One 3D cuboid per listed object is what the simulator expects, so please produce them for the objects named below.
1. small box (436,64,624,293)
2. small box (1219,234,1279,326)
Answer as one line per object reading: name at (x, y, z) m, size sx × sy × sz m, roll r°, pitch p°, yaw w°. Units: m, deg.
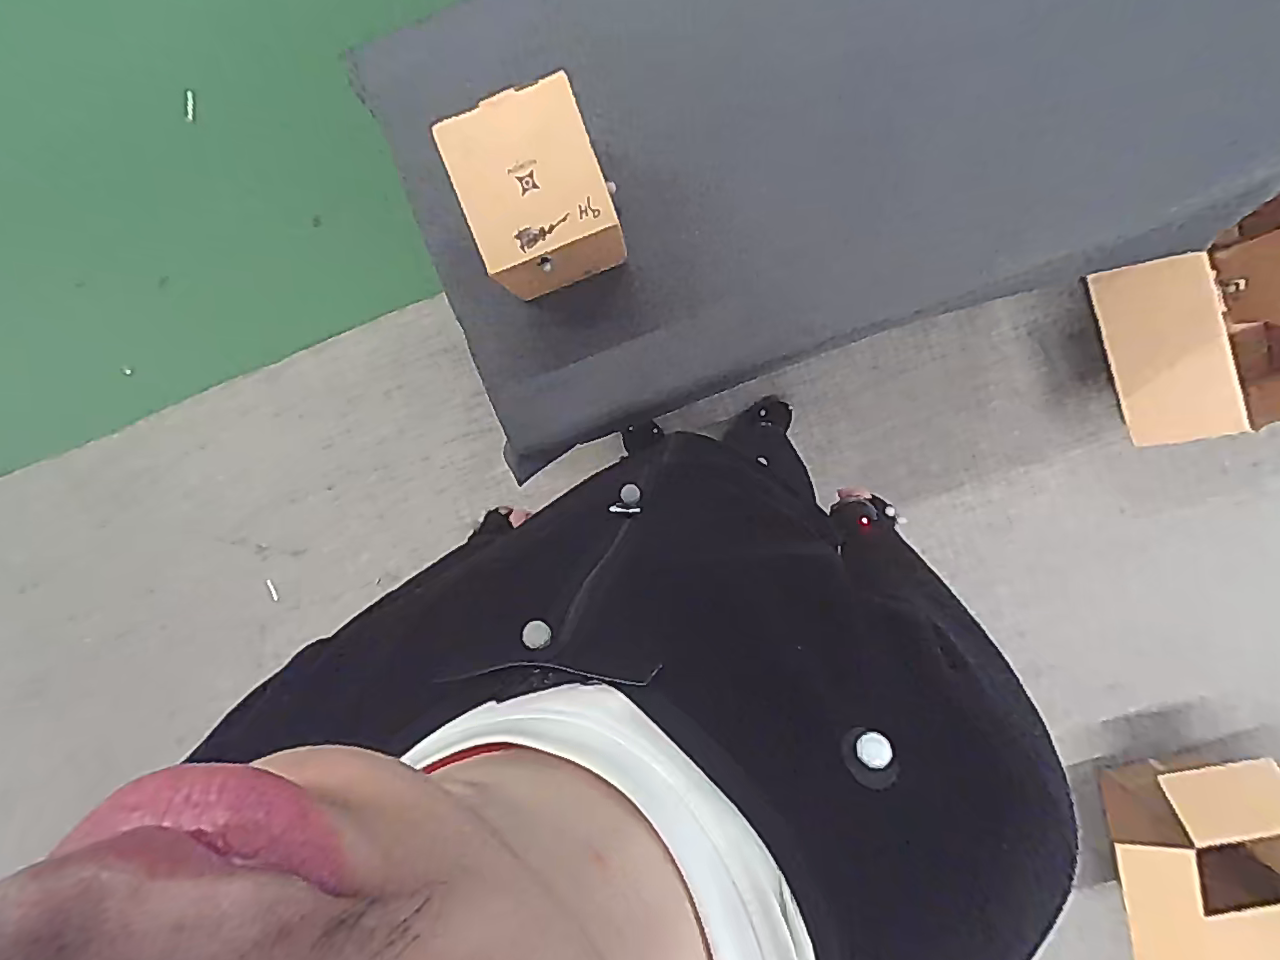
small box at (-0.126, -0.365, 0.690) m, size 0.168 × 0.176 × 0.179 m, roll -20°, pitch 96°, yaw 4°
small box at (1.440, -0.451, 1.170) m, size 0.179 × 0.176 × 0.168 m, roll -26°, pitch 99°, yaw 7°
